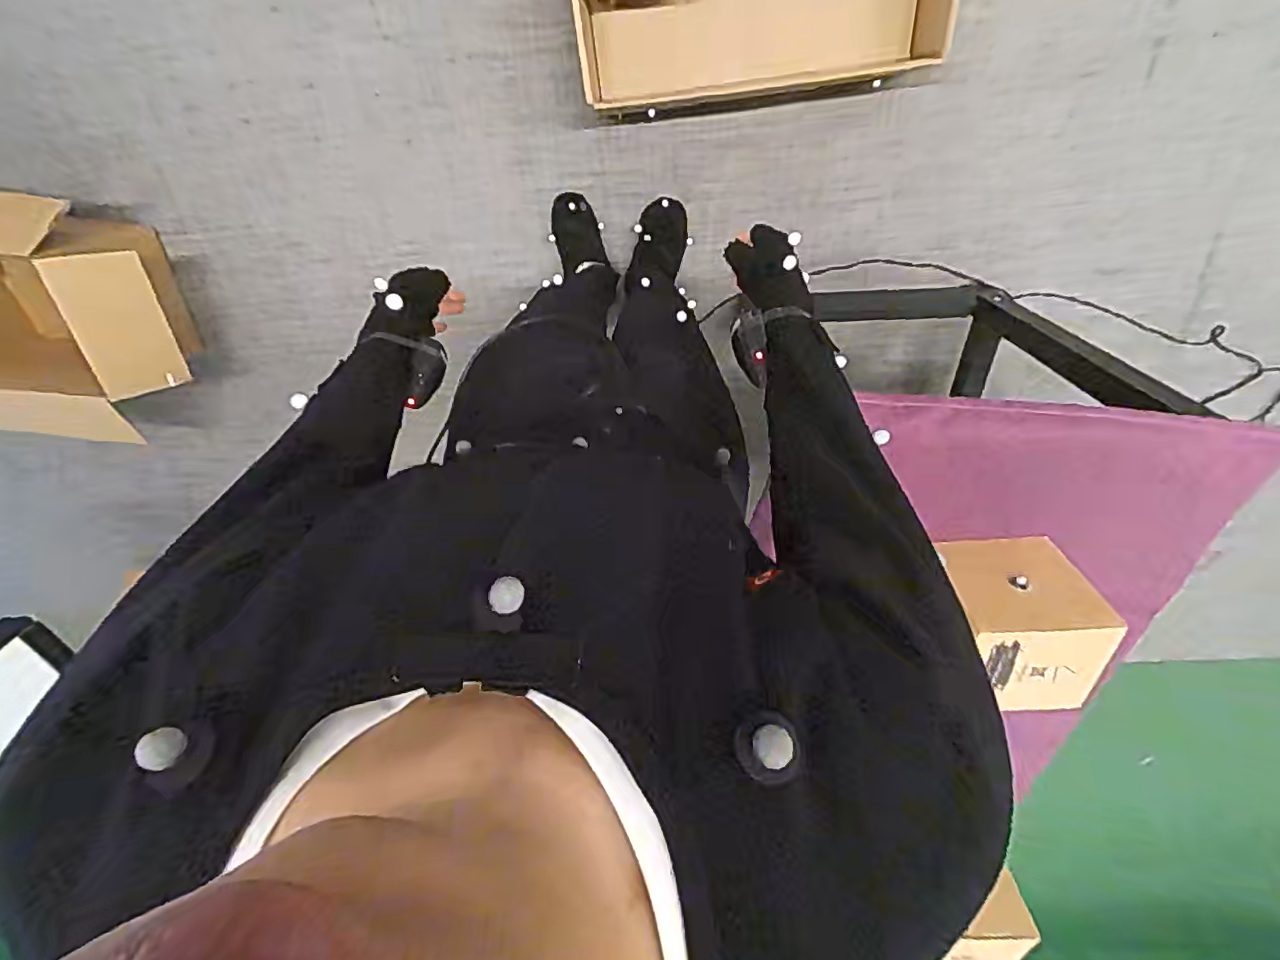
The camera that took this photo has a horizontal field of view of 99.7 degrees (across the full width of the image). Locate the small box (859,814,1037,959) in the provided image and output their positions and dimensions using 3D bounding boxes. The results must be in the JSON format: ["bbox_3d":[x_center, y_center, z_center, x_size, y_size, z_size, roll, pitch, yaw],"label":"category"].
[{"bbox_3d":[0.484,0.670,0.881,0.179,0.176,0.168,-1,123,2],"label":"small box"}]
